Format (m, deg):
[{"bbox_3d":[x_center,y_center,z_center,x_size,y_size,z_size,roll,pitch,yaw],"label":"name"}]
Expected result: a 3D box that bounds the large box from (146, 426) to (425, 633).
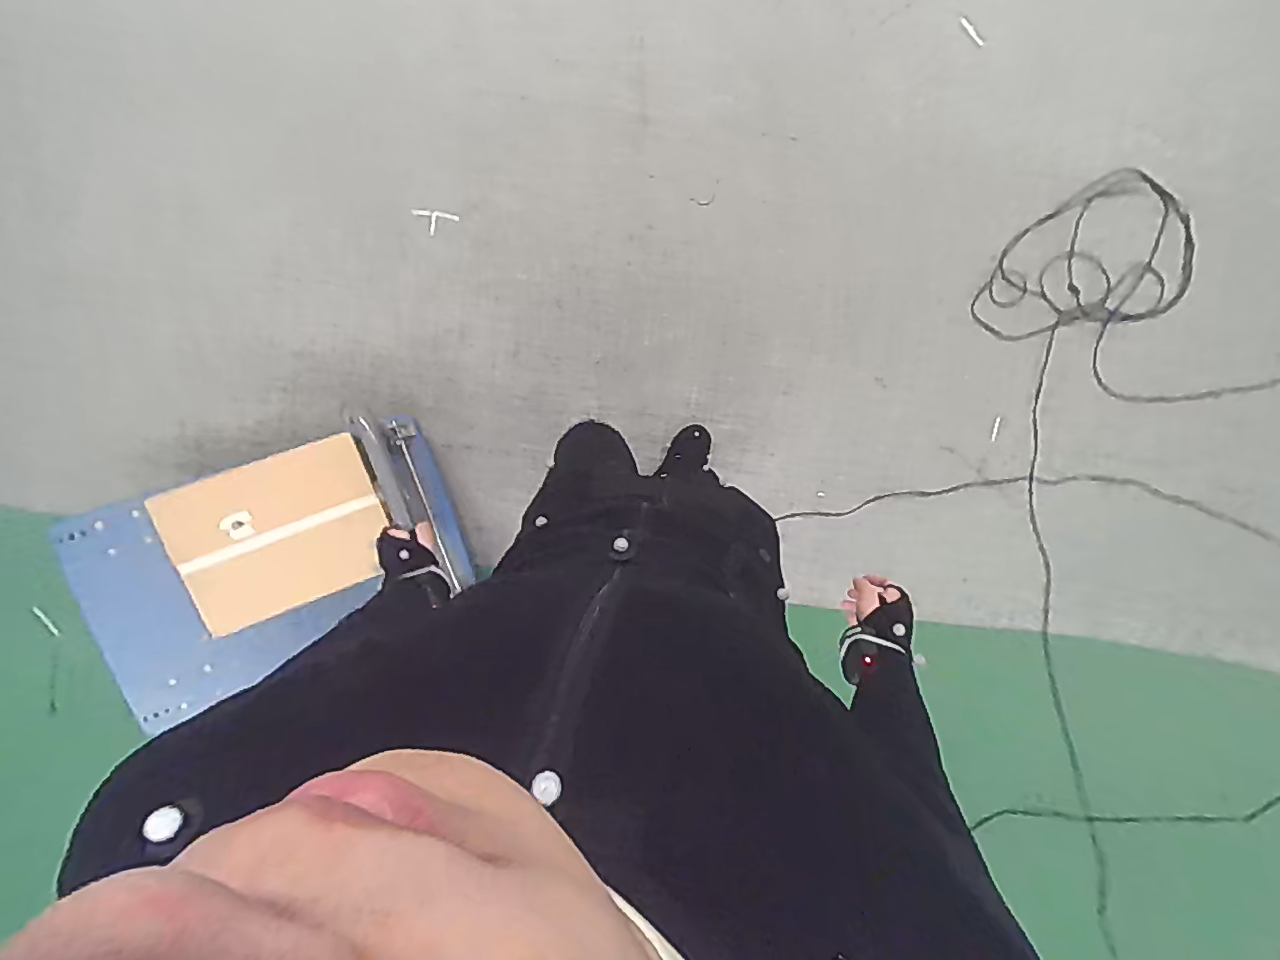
[{"bbox_3d":[-0.778,0.090,1.267,0.408,0.320,0.320,-22,97,-11],"label":"large box"}]
